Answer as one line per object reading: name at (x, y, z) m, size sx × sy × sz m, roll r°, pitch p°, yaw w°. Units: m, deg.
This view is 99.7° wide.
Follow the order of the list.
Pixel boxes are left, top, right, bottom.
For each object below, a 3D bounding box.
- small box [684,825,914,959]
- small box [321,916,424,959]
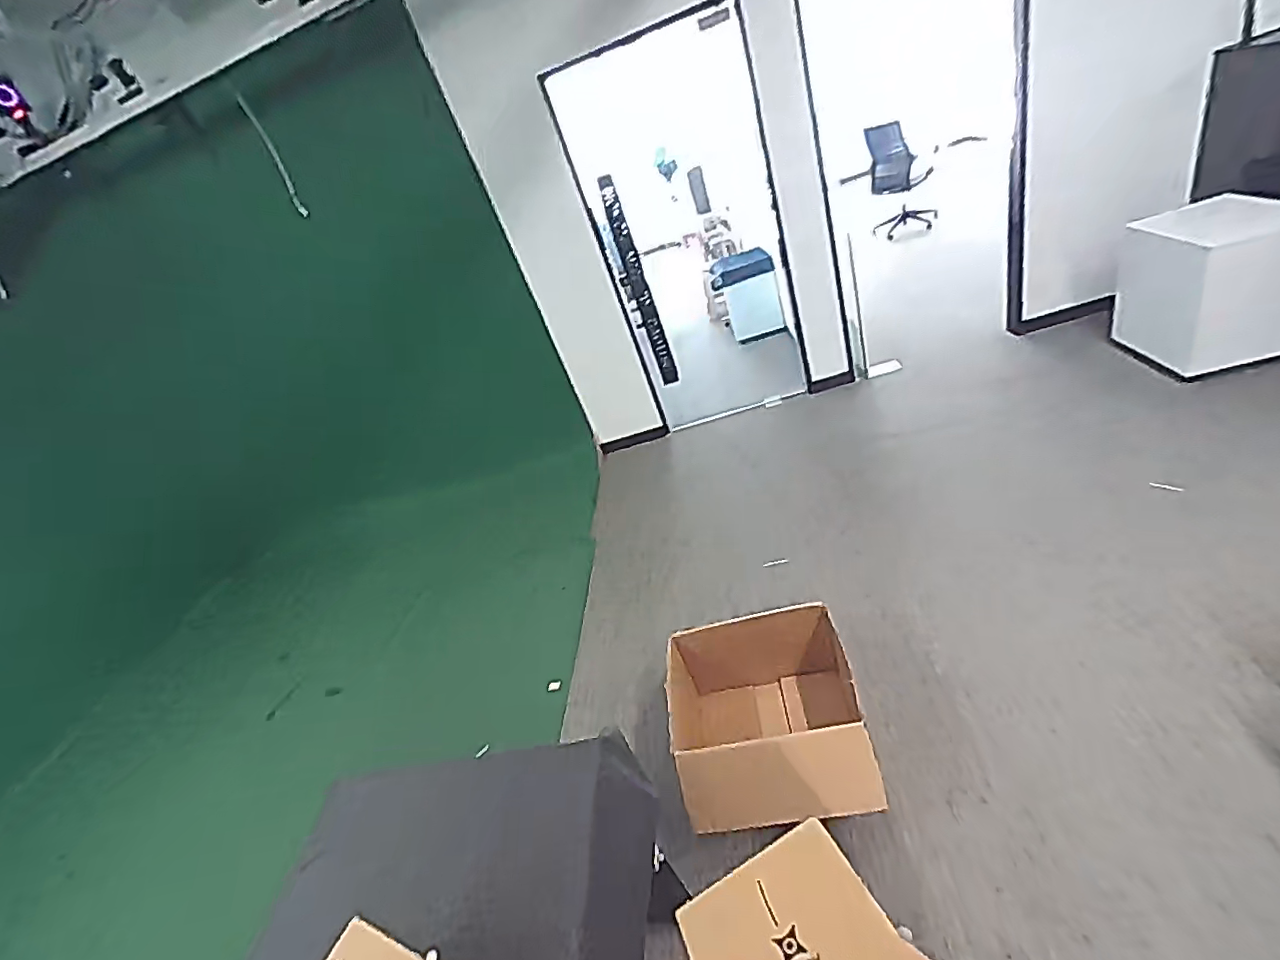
small box at (0.166, 0.466, 0.473) m, size 0.168 × 0.176 × 0.179 m, roll -28°, pitch 19°, yaw -6°
small box at (-0.332, 0.712, 0.688) m, size 0.179 × 0.176 × 0.168 m, roll -1°, pitch 35°, yaw 30°
